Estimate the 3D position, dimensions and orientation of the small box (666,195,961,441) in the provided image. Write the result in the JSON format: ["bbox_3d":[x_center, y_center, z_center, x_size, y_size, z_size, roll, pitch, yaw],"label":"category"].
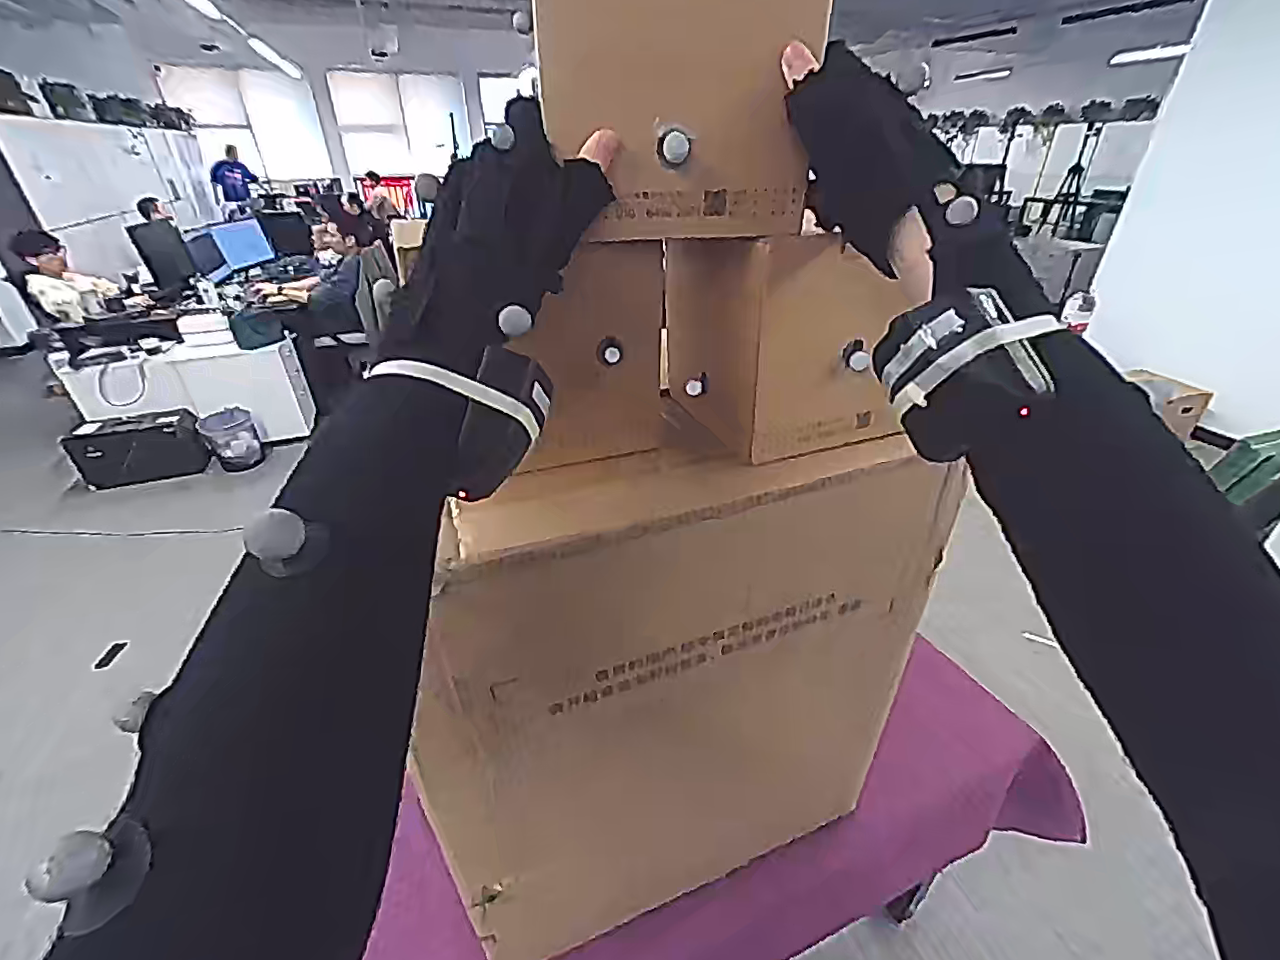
[{"bbox_3d":[0.132,-0.144,0.475,0.168,0.176,0.179,-13,32,-15],"label":"small box"}]

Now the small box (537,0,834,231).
[{"bbox_3d":[0.016,-0.274,0.377,0.168,0.176,0.179,-5,31,-7],"label":"small box"}]
